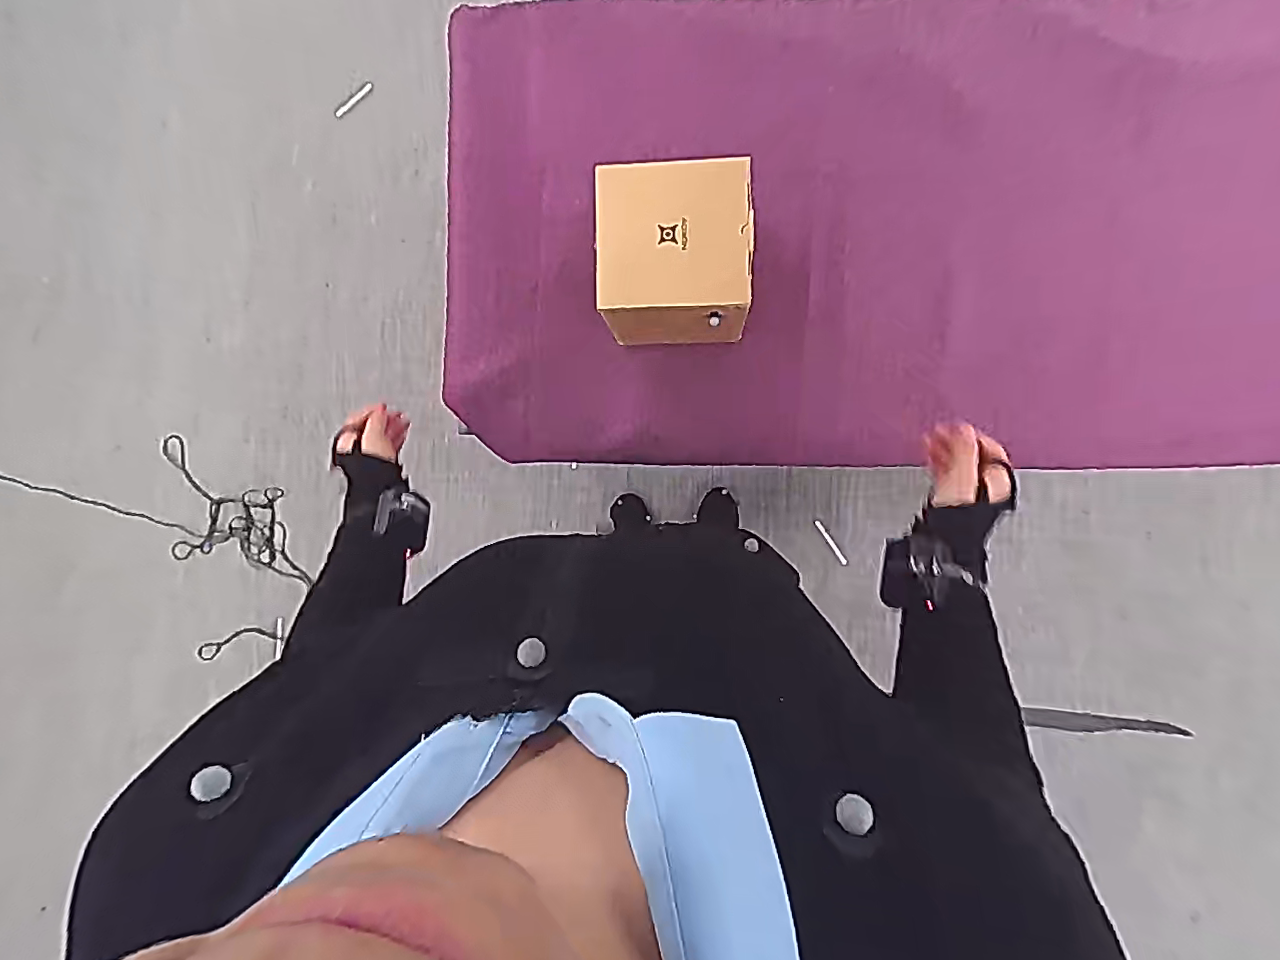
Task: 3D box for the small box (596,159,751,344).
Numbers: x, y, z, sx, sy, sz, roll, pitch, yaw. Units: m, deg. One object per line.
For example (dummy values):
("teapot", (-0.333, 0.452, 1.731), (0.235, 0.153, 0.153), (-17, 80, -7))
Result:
("small box", (0.045, -0.276, 0.689), (0.179, 0.176, 0.168), (-1, 90, 5))
